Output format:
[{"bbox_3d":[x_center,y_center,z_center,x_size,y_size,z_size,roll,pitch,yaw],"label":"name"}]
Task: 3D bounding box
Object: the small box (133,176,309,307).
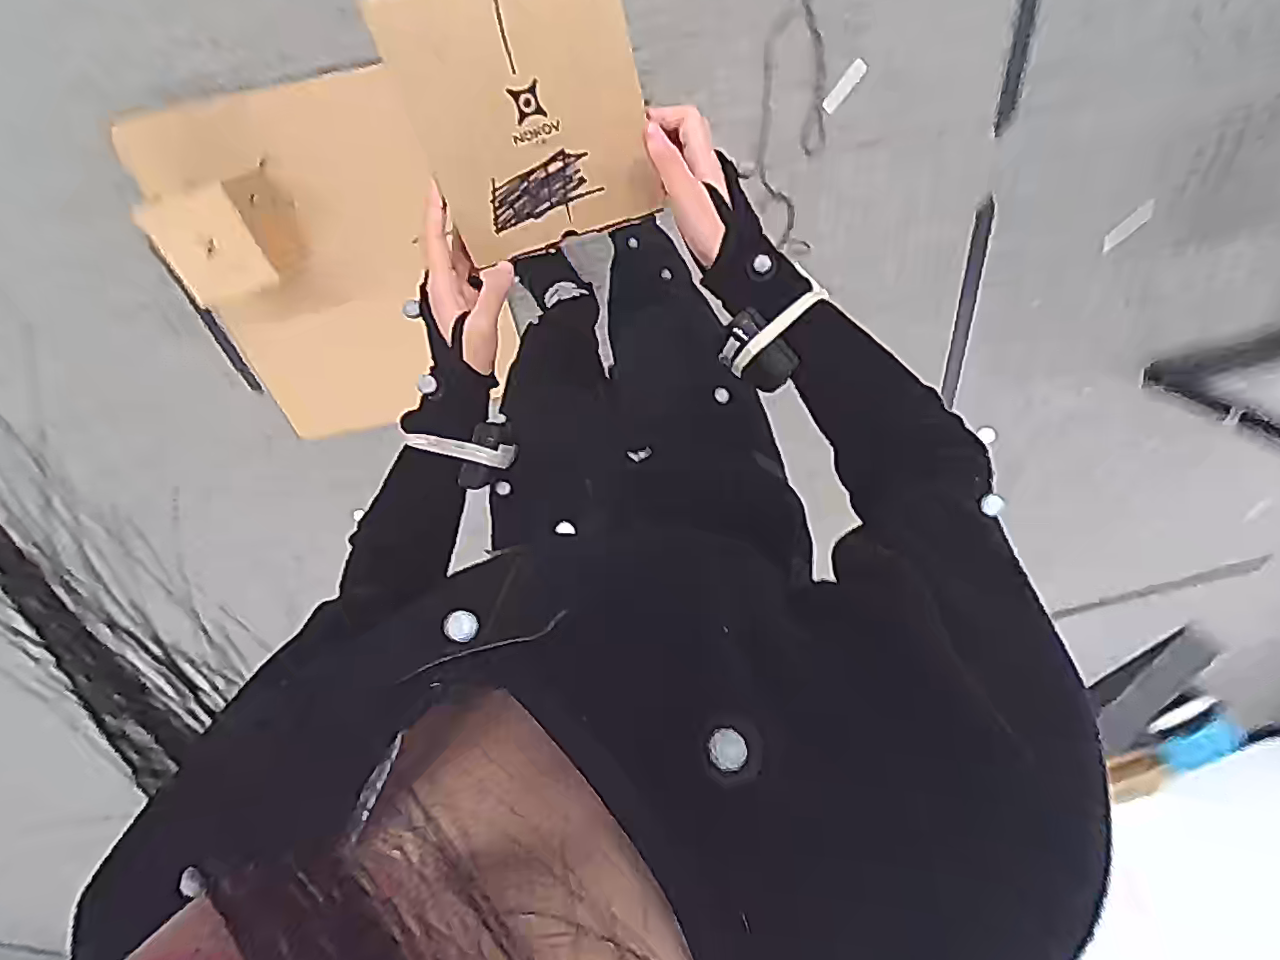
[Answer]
[{"bbox_3d":[-0.783,-0.463,1.035,0.168,0.176,0.179,-17,127,3],"label":"small box"}]
